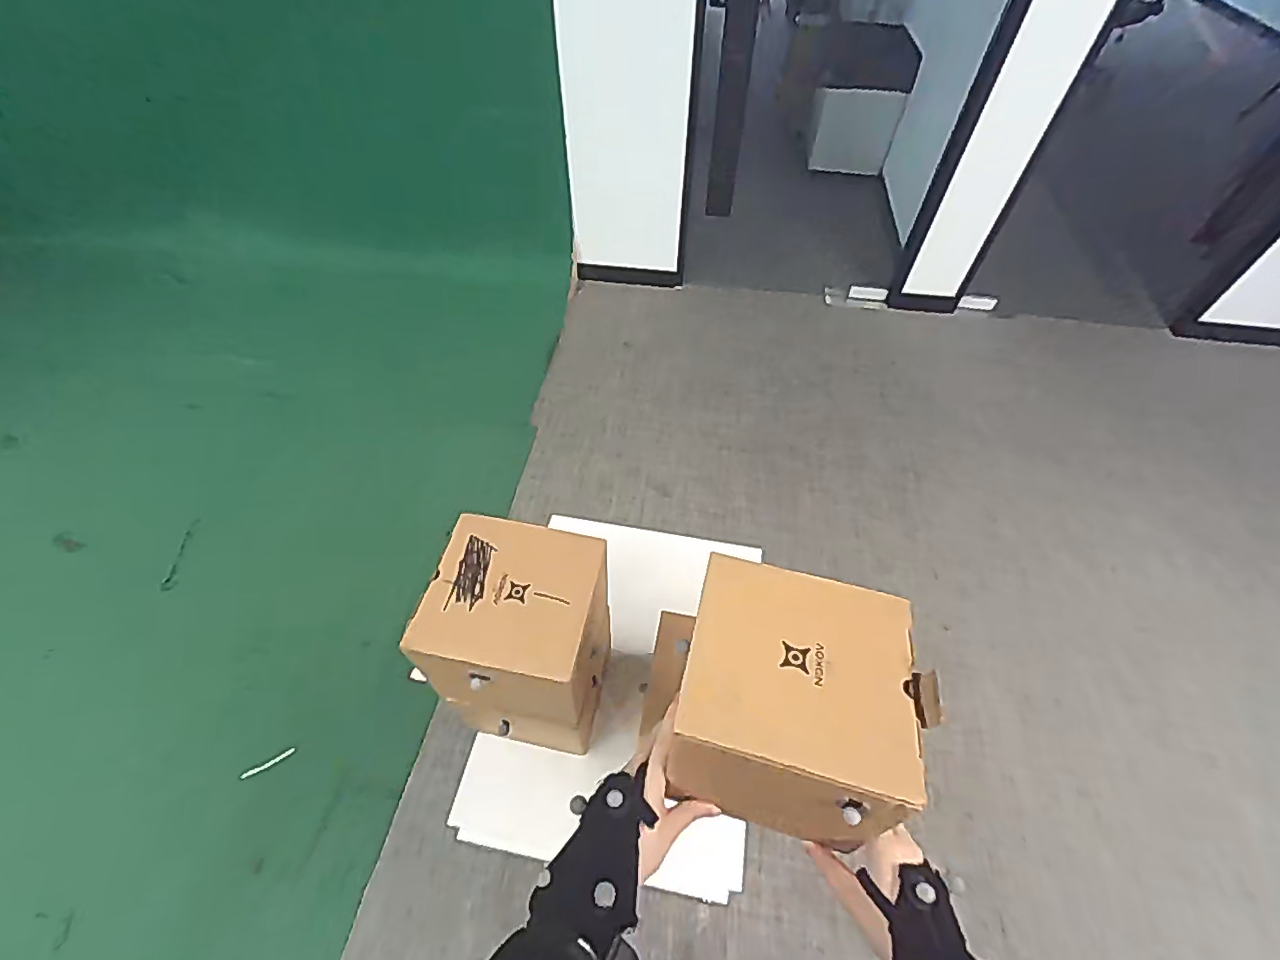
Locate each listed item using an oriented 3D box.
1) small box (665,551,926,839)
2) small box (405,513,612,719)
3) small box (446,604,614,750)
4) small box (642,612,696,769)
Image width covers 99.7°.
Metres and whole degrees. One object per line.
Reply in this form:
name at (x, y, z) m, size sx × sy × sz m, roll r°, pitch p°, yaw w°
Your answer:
small box at (0.125, 0.193, 0.484) m, size 0.179 × 0.176 × 0.168 m, roll 13°, pitch 47°, yaw 8°
small box at (-0.135, 0.163, 0.632) m, size 0.179 × 0.176 × 0.168 m, roll 10°, pitch 54°, yaw 4°
small box at (-0.139, 0.265, 0.762) m, size 0.179 × 0.176 × 0.168 m, roll 10°, pitch 54°, yaw 6°
small box at (0.103, 0.303, 0.740) m, size 0.179 × 0.176 × 0.168 m, roll 8°, pitch 52°, yaw 7°
